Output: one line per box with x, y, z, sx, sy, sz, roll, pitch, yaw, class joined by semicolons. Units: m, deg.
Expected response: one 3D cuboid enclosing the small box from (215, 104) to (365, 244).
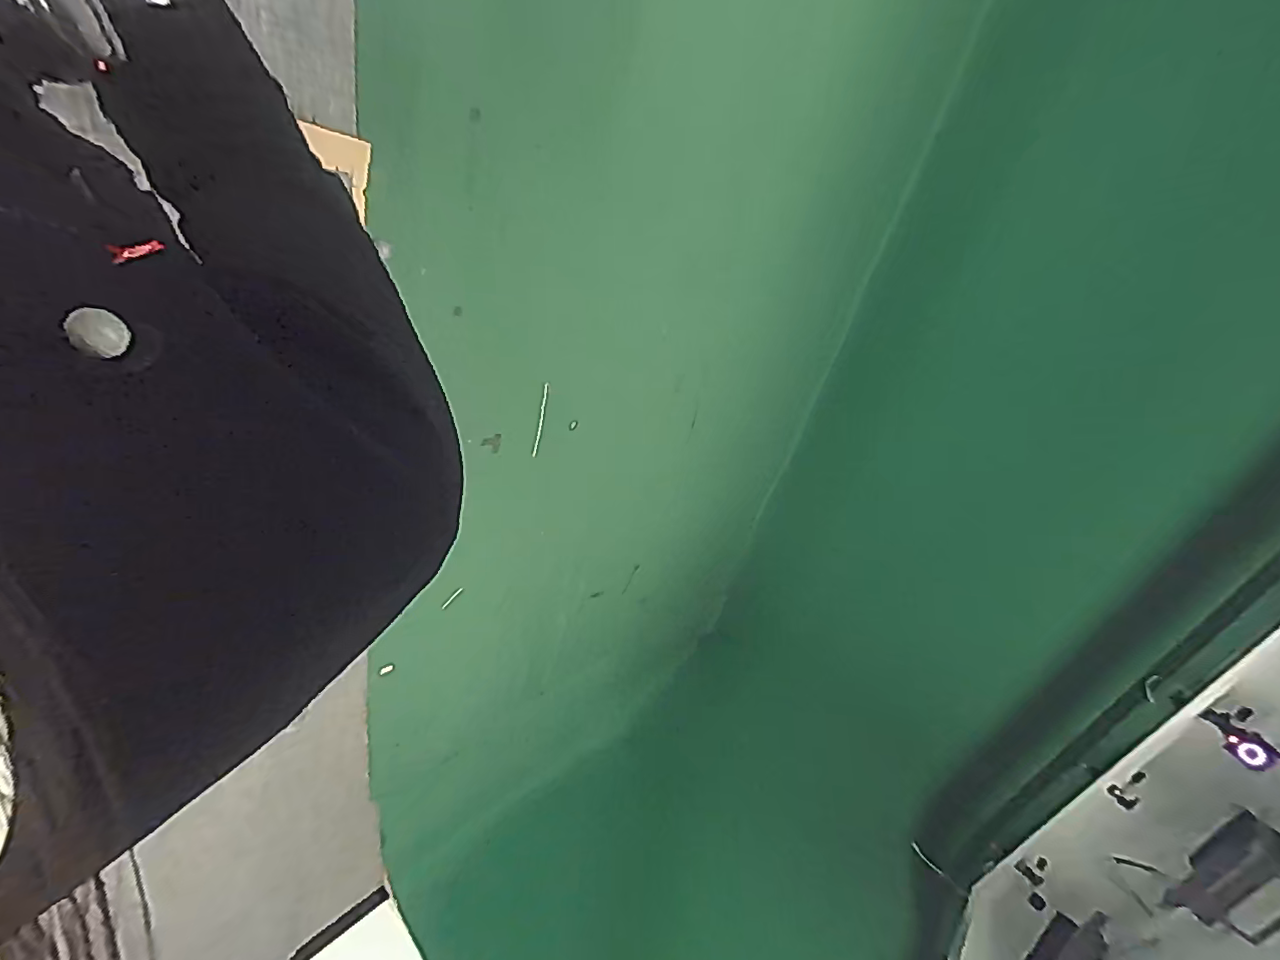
-0.619;-0.539;0.957;0.179;0.176;0.168;-12;127;-49;small box
